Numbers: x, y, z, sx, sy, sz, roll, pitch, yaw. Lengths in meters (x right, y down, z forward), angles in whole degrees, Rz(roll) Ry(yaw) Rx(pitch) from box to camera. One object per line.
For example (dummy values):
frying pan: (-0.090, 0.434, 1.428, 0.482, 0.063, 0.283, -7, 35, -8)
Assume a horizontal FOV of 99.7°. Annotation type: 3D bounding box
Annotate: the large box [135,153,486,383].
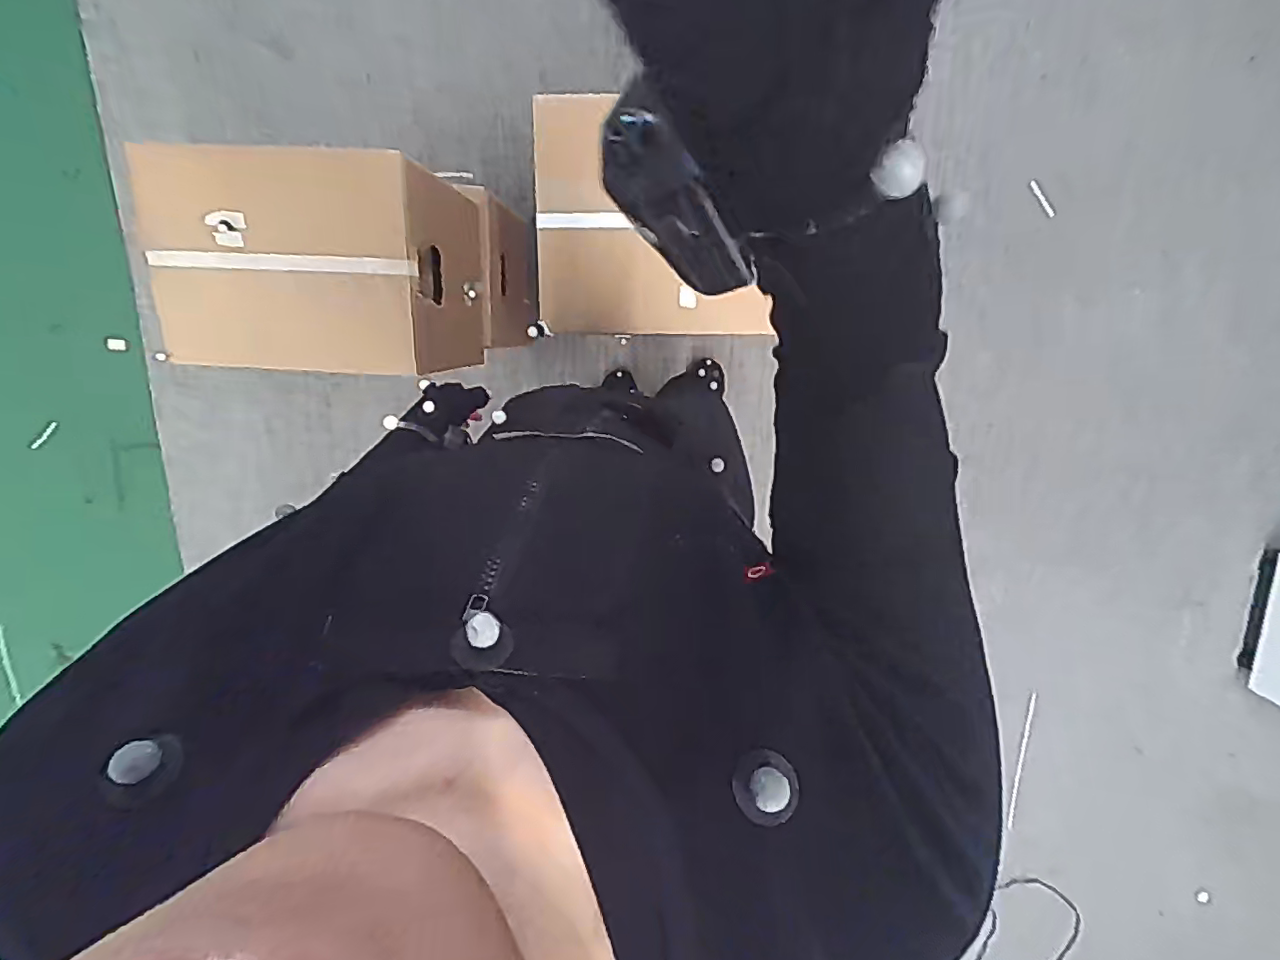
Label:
large box: (-0.519, -0.350, 0.943, 0.408, 0.320, 0.320, 4, 105, 4)
